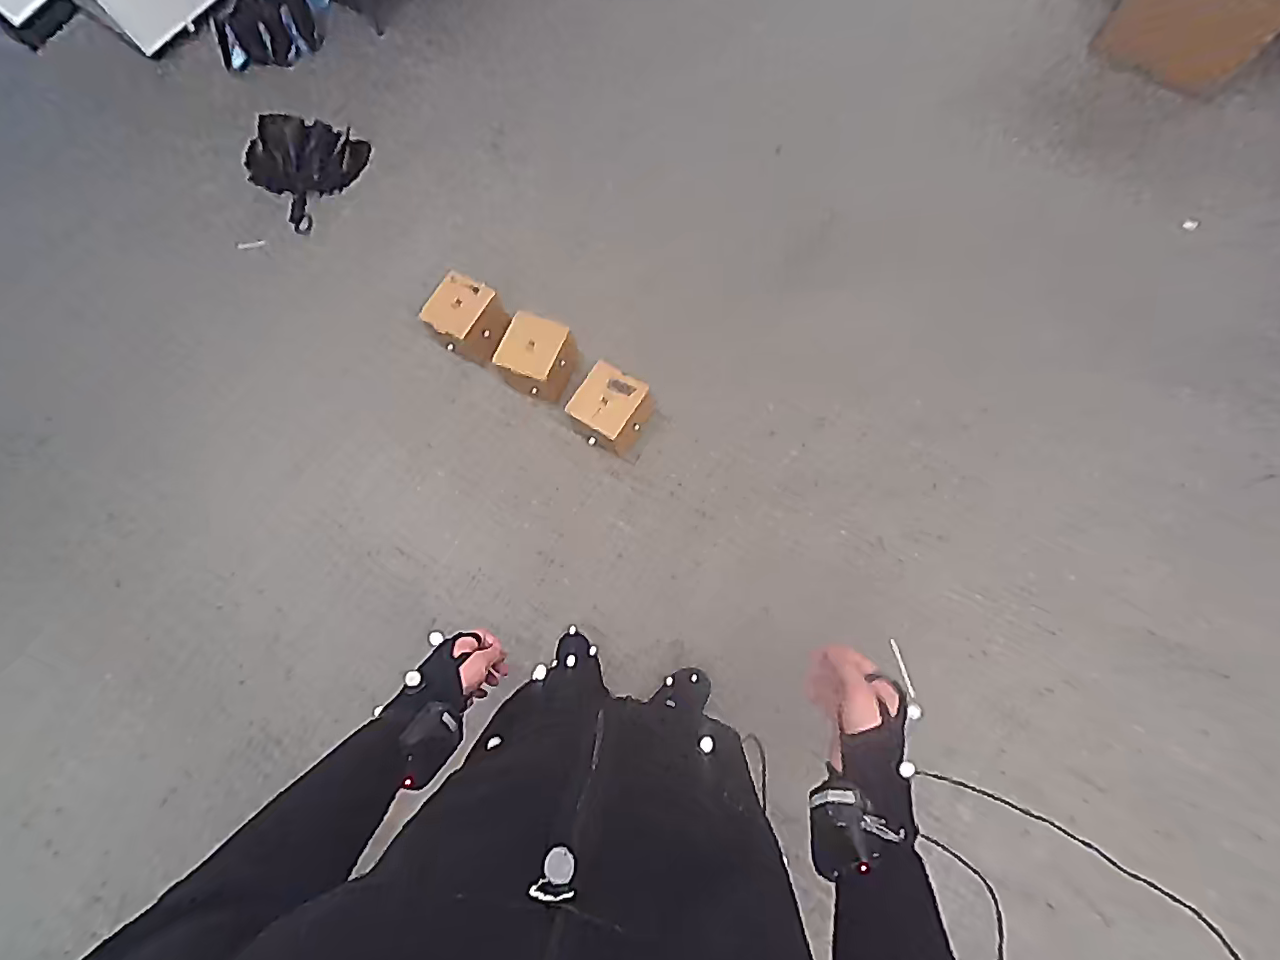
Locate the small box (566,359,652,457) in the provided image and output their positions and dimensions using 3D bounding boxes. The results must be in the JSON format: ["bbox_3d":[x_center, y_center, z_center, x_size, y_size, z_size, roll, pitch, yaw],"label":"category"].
[{"bbox_3d":[-0.077,-0.193,1.490,0.168,0.176,0.179,32,80,13],"label":"small box"}]

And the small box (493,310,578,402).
[{"bbox_3d":[-0.290,-0.351,1.555,0.168,0.176,0.179,21,75,9],"label":"small box"}]

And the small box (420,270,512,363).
[{"bbox_3d":[-0.507,-0.478,1.609,0.168,0.176,0.179,29,79,12],"label":"small box"}]
